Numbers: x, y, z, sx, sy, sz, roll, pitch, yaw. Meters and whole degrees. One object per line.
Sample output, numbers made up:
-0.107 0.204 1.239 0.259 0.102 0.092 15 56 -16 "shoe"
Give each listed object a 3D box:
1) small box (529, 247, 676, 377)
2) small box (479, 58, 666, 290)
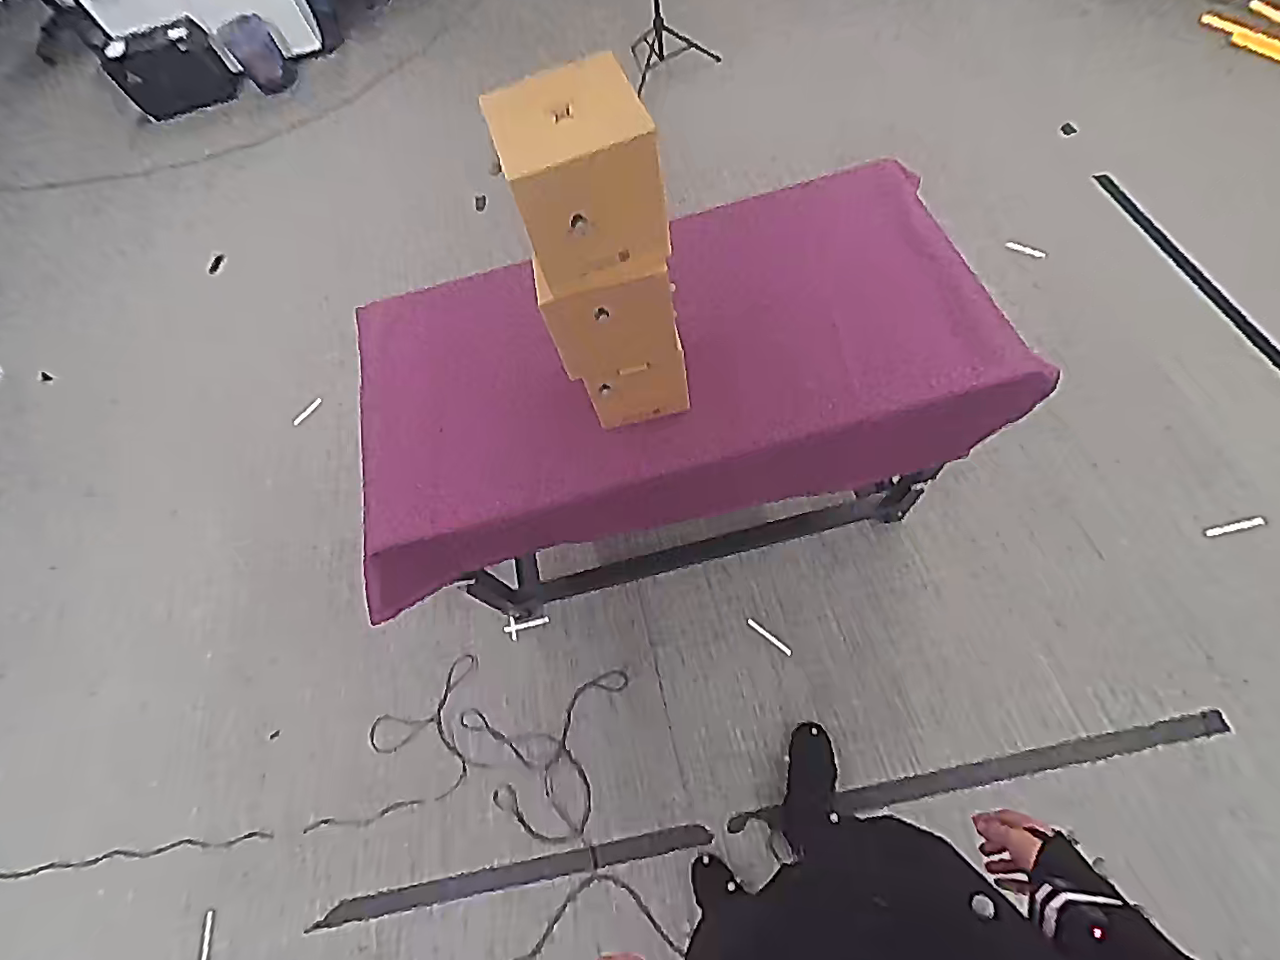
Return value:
-0.052 -0.276 0.804 0.179 0.176 0.168 -13 63 3 "small box"
-0.075 -0.362 0.668 0.168 0.176 0.179 -20 62 -1 "small box"
